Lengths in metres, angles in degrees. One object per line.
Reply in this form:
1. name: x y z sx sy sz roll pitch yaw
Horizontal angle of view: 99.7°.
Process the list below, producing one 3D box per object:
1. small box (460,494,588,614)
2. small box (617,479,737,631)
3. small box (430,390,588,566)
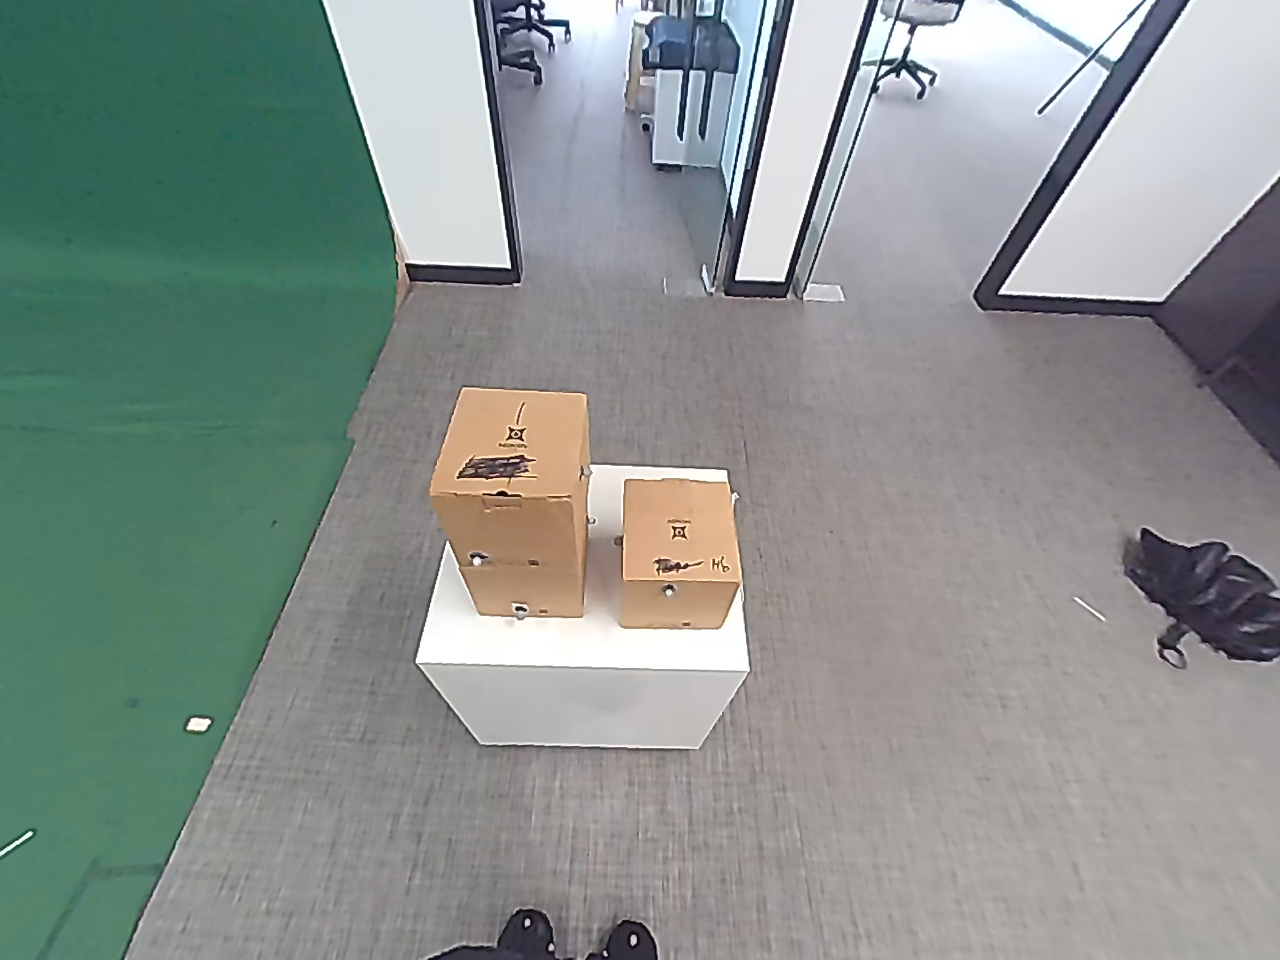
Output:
1. small box: -0.169 0.094 0.846 0.168 0.176 0.179 0 53 -3
2. small box: 0.050 0.120 0.858 0.168 0.176 0.179 2 51 -2
3. small box: -0.160 0.002 0.730 0.168 0.176 0.179 3 50 -1
